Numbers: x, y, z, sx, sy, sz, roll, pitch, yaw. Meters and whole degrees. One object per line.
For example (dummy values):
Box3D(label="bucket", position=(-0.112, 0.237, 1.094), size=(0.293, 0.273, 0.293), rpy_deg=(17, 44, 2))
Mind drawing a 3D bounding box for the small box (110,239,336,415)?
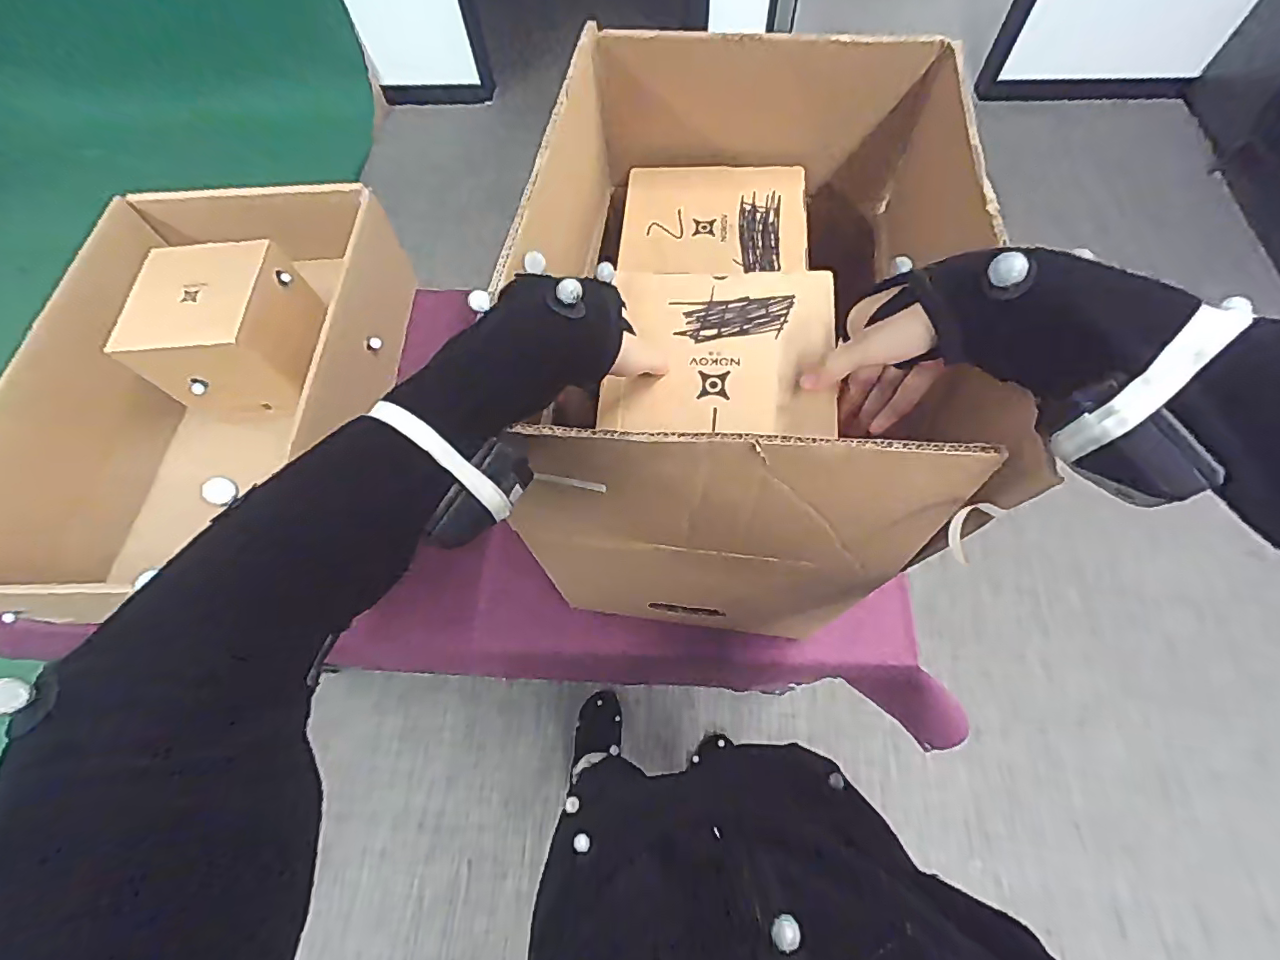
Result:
Box3D(label="small box", position=(-0.561, -0.202, 0.758), size=(0.168, 0.176, 0.179), rpy_deg=(-4, 65, 2))
